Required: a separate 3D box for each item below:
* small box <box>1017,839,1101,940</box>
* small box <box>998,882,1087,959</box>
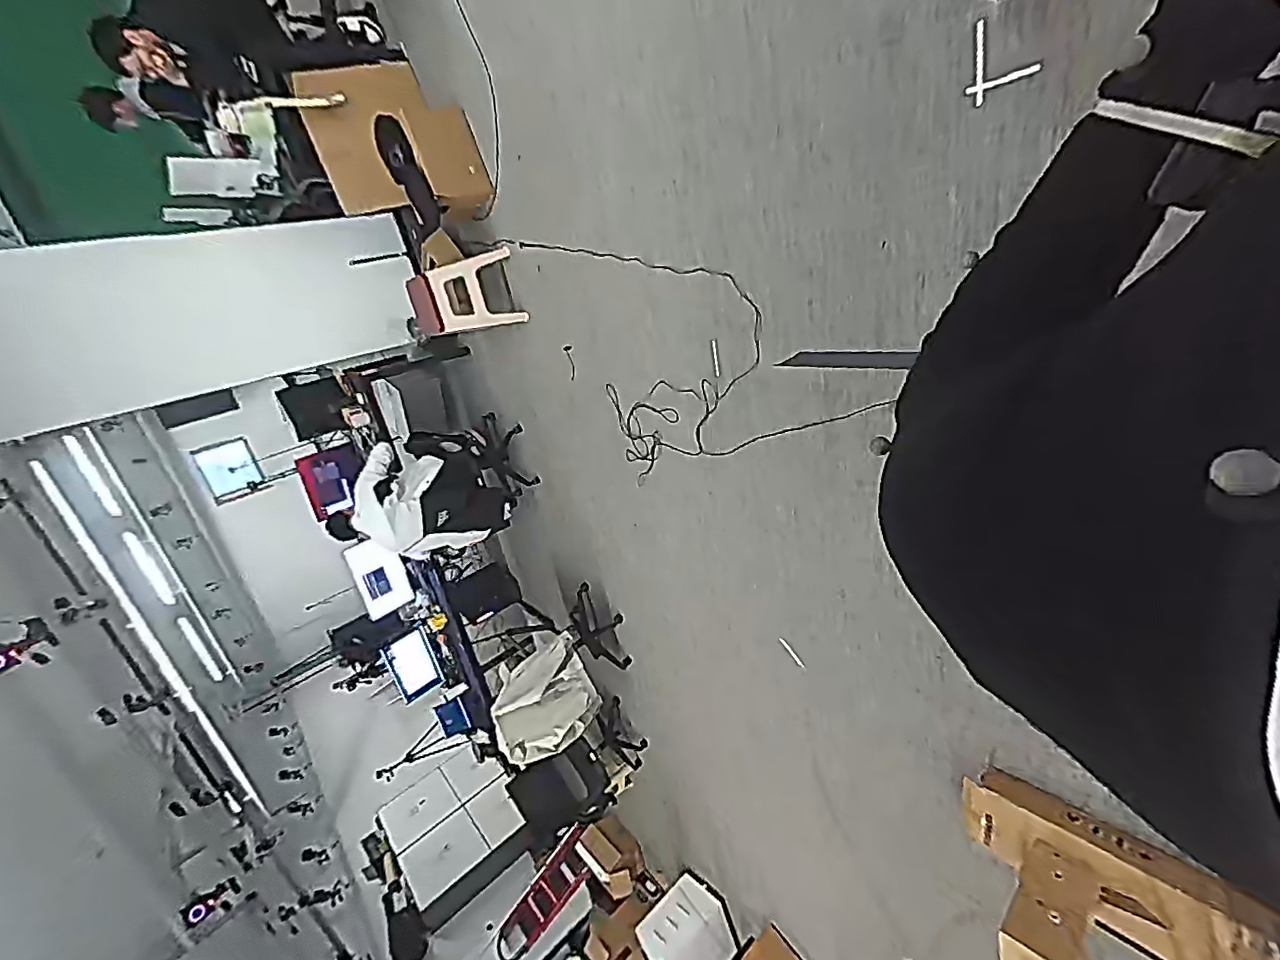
[{"bbox_3d":[1.242,1.225,1.605,0.168,0.176,0.179,12,122,50],"label":"small box"},{"bbox_3d":[1.127,1.291,1.510,0.168,0.176,0.179,8,119,50],"label":"small box"}]
